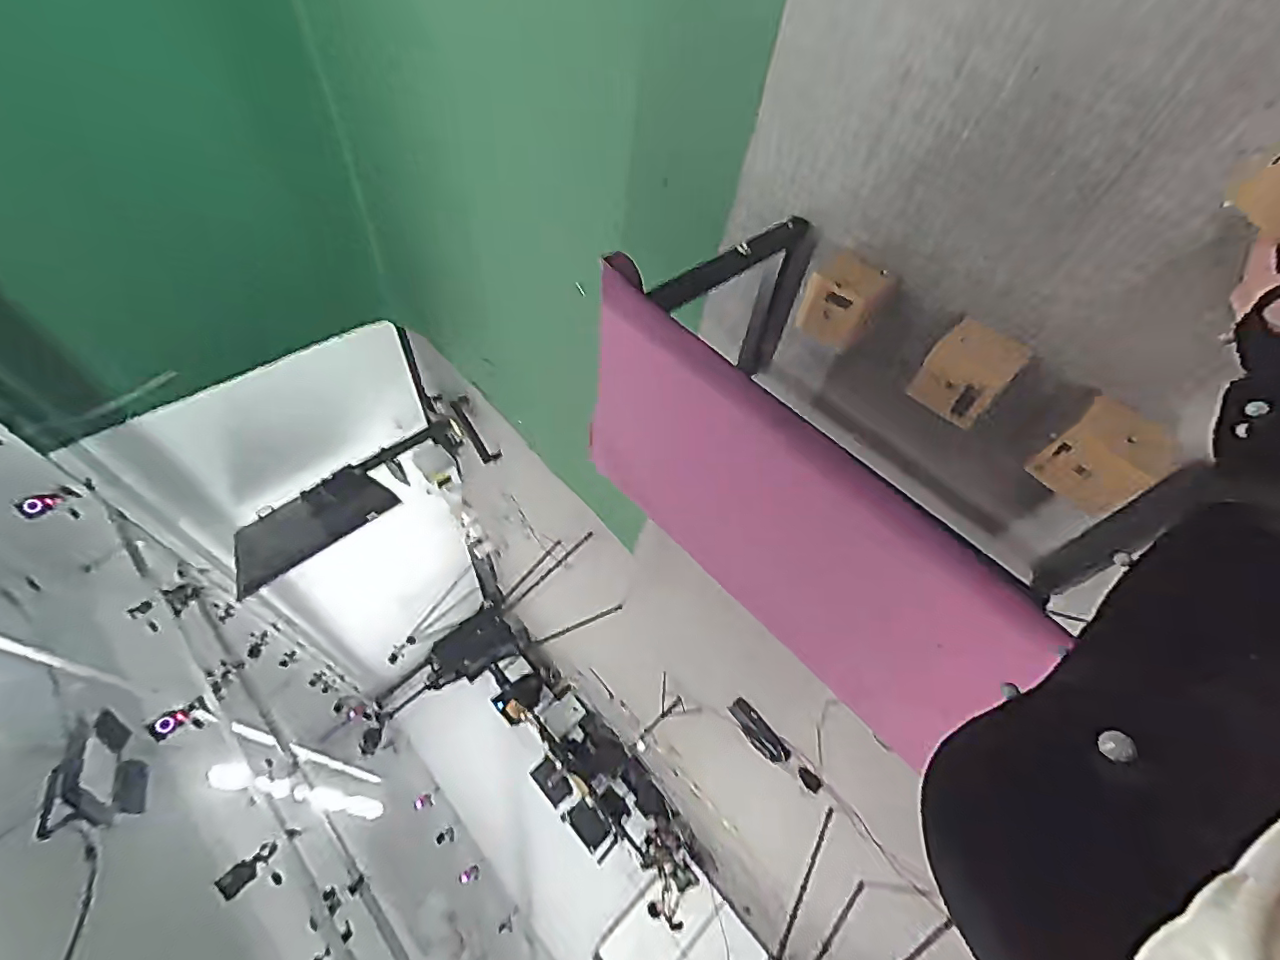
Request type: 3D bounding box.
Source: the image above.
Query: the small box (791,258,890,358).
[{"bbox_3d":[0.549,-0.475,1.479,0.168,0.176,0.179,42,150,23],"label":"small box"}]

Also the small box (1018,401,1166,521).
[{"bbox_3d":[1.023,-0.047,1.224,0.179,0.176,0.168,44,151,18],"label":"small box"}]
